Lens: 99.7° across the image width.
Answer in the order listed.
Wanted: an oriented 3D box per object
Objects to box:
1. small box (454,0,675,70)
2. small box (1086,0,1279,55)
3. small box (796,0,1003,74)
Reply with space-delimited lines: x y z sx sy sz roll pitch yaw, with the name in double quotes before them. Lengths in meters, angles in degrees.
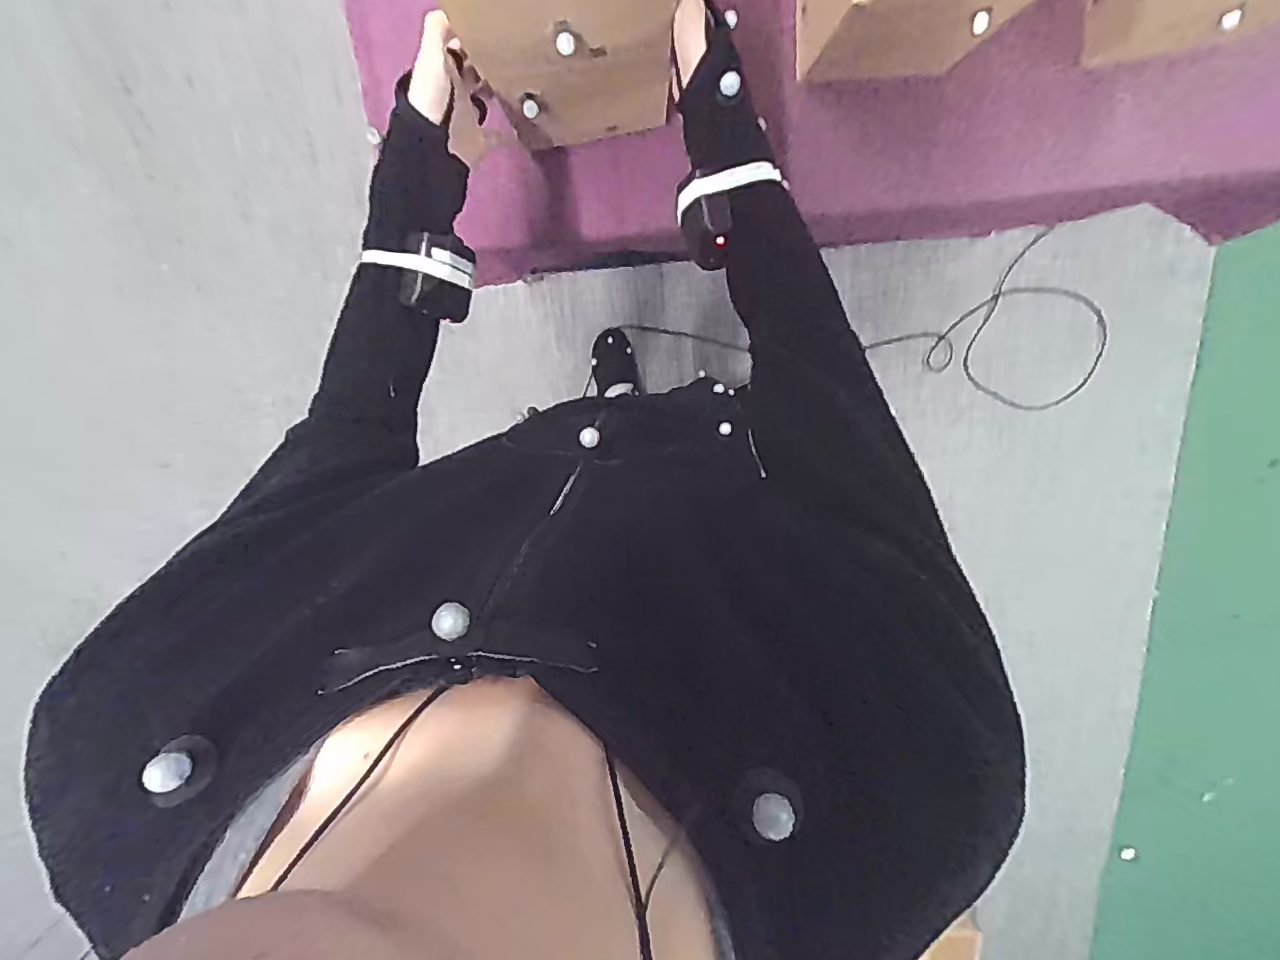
"small box" -0.063 -0.421 0.359 0.168 0.176 0.179 -6 102 1
"small box" 0.585 -0.552 0.524 0.179 0.176 0.168 -8 106 1
"small box" 0.258 -0.528 0.526 0.179 0.176 0.168 -5 106 -1
